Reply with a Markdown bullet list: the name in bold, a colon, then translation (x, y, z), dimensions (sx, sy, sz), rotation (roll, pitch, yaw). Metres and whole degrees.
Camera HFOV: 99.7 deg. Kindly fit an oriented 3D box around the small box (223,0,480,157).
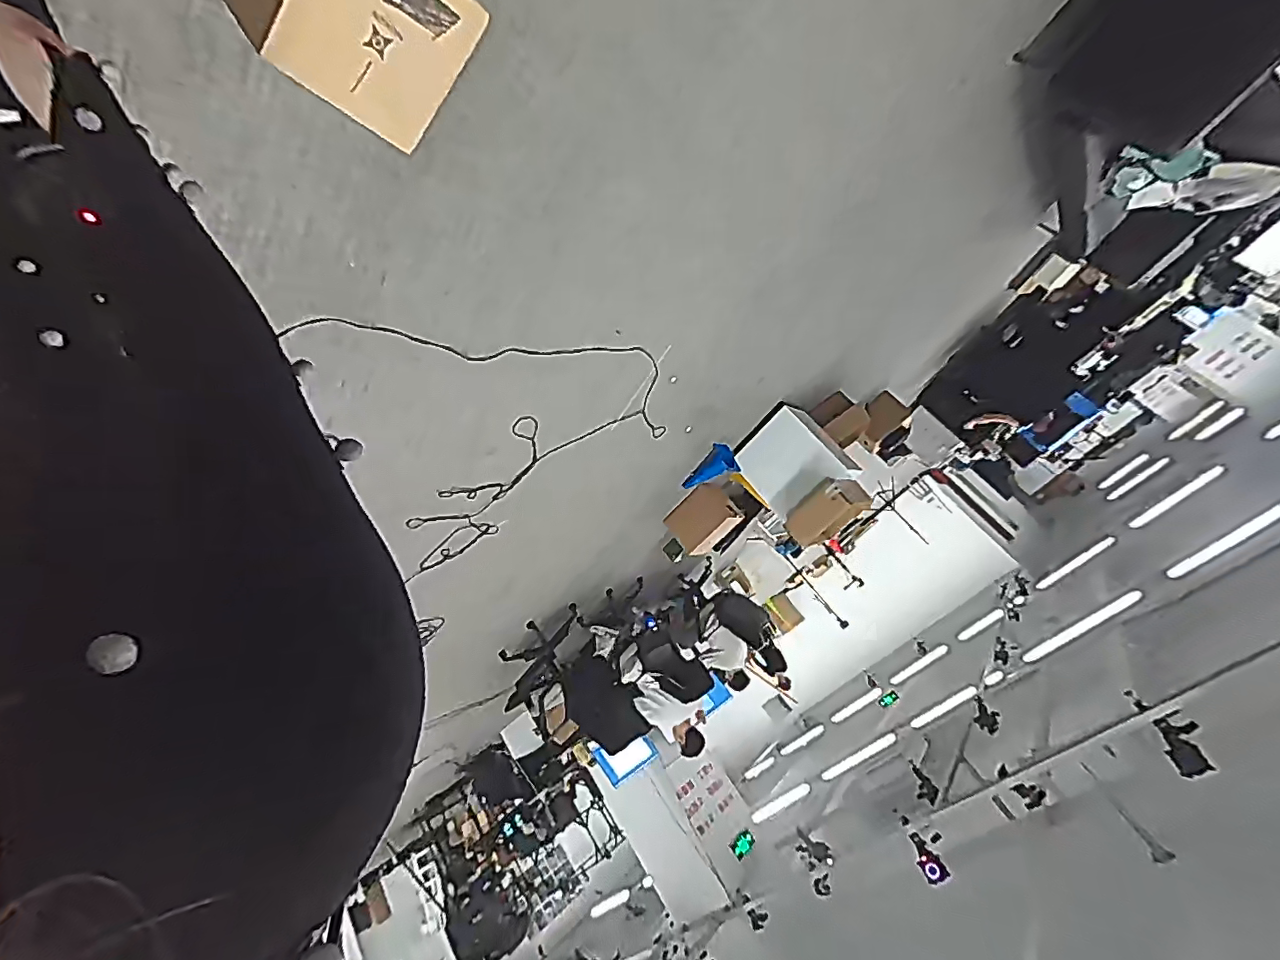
- **small box**: translation (-0.315, -0.510, 0.581), dimensions (0.179, 0.176, 0.168), rotation (-43, 157, 20)
